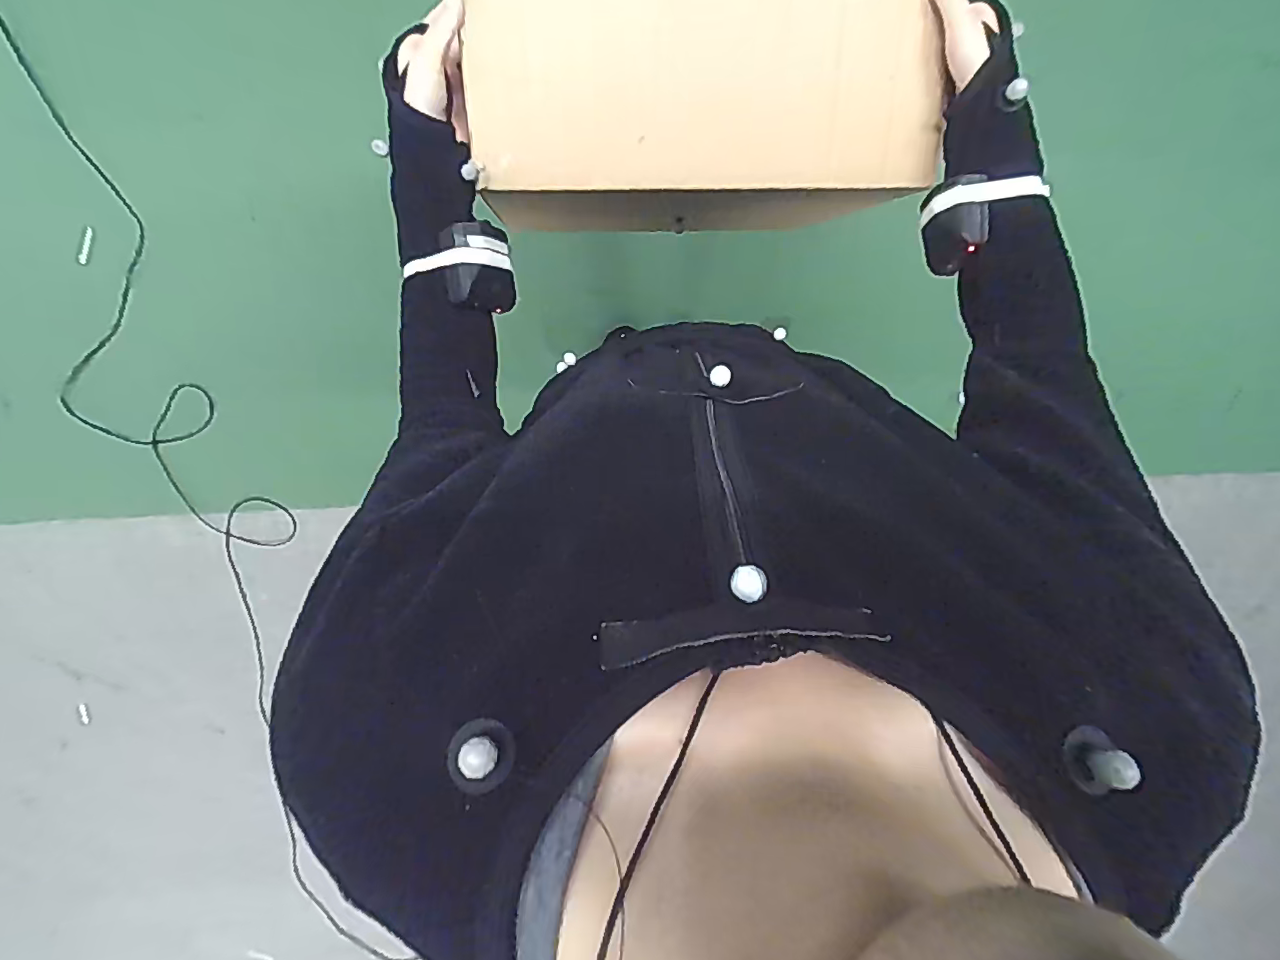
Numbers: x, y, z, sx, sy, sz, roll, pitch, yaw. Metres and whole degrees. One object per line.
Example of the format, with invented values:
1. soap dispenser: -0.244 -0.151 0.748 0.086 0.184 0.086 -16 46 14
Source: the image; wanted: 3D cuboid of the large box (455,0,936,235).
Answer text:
1. large box: 0.037 -0.444 0.570 0.408 0.320 0.320 -4 108 -6
